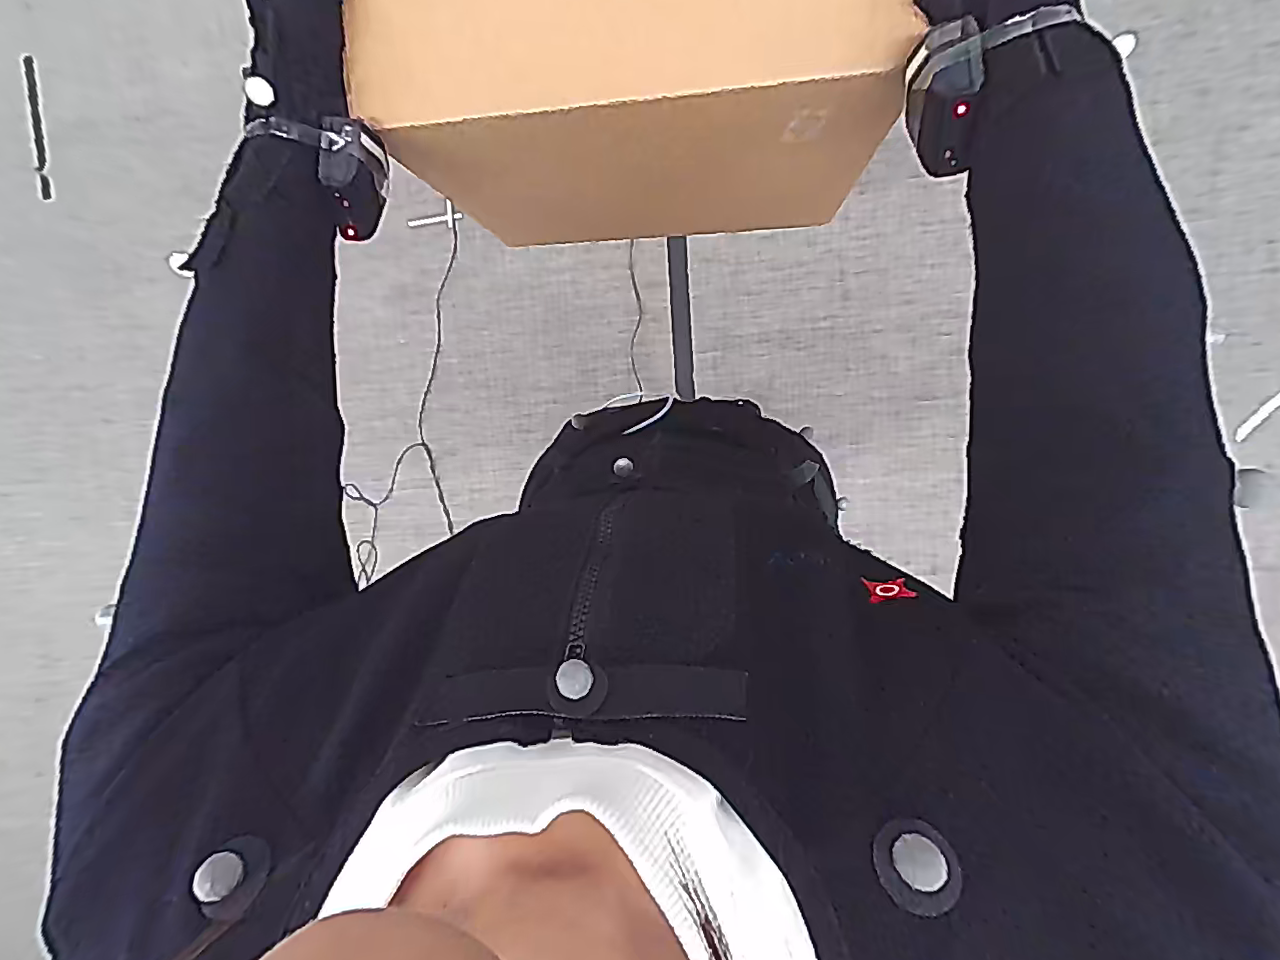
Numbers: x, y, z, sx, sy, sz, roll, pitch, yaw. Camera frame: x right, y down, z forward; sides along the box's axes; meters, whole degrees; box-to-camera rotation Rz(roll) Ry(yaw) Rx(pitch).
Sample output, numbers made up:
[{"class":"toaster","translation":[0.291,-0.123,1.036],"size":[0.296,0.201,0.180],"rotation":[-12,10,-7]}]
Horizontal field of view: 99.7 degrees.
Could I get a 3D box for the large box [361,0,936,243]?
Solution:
[{"class":"large box","translation":[0.006,-0.442,0.508],"size":[0.408,0.320,0.320],"rotation":[-2,98,7]}]
